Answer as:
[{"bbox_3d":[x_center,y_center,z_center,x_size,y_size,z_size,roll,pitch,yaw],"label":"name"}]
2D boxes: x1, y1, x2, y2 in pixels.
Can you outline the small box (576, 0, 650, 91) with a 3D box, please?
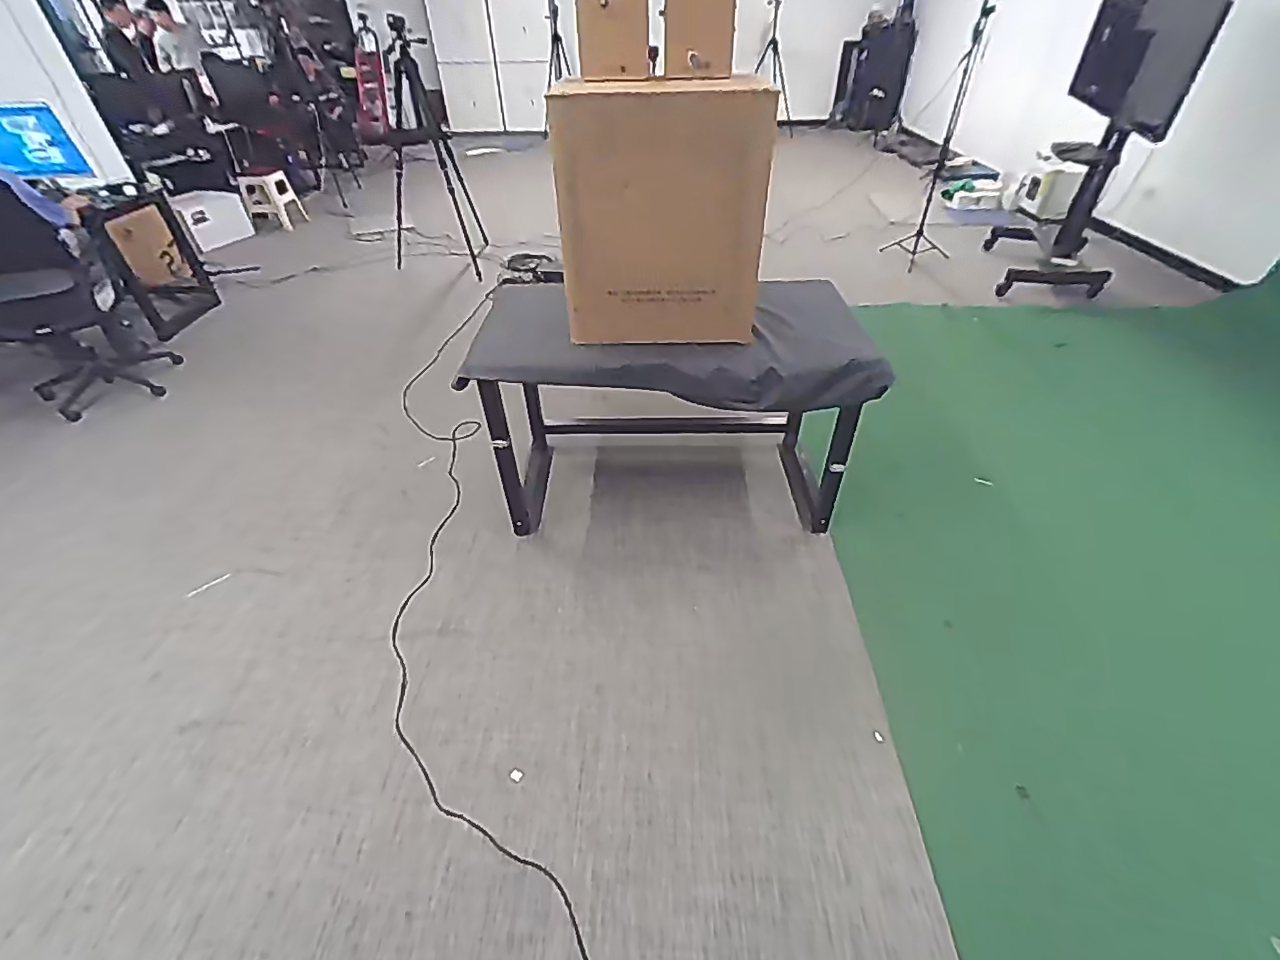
[{"bbox_3d":[-0.061,-1.071,1.339,0.168,0.176,0.179,-1,38,3],"label":"small box"}]
